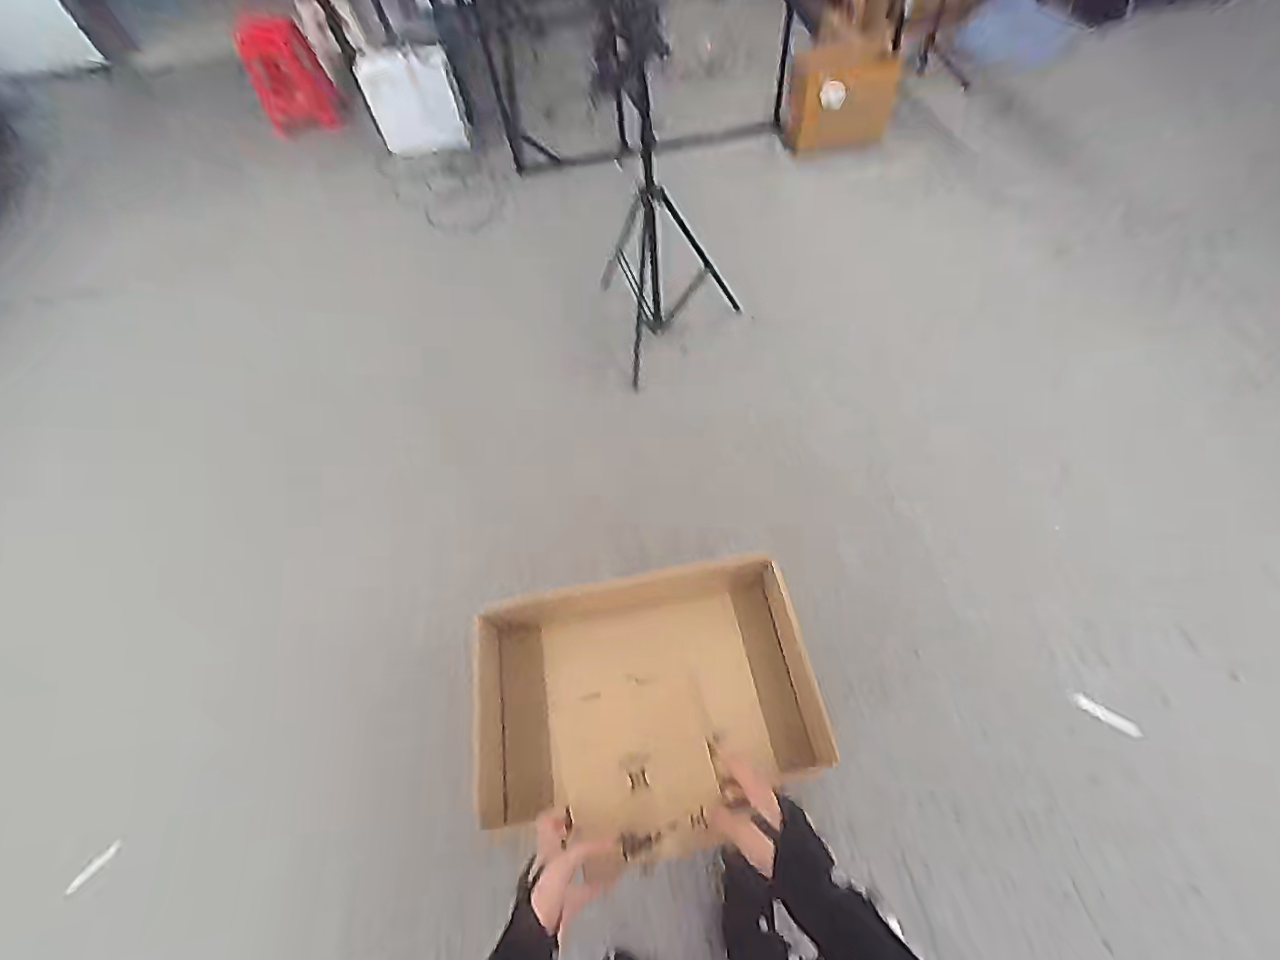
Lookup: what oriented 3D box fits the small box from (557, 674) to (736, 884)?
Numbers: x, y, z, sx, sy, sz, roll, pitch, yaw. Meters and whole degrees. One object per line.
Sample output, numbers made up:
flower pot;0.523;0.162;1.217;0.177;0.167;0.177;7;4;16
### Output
small box;0.012;0.349;0.658;0.168;0.176;0.179;-16;66;3
